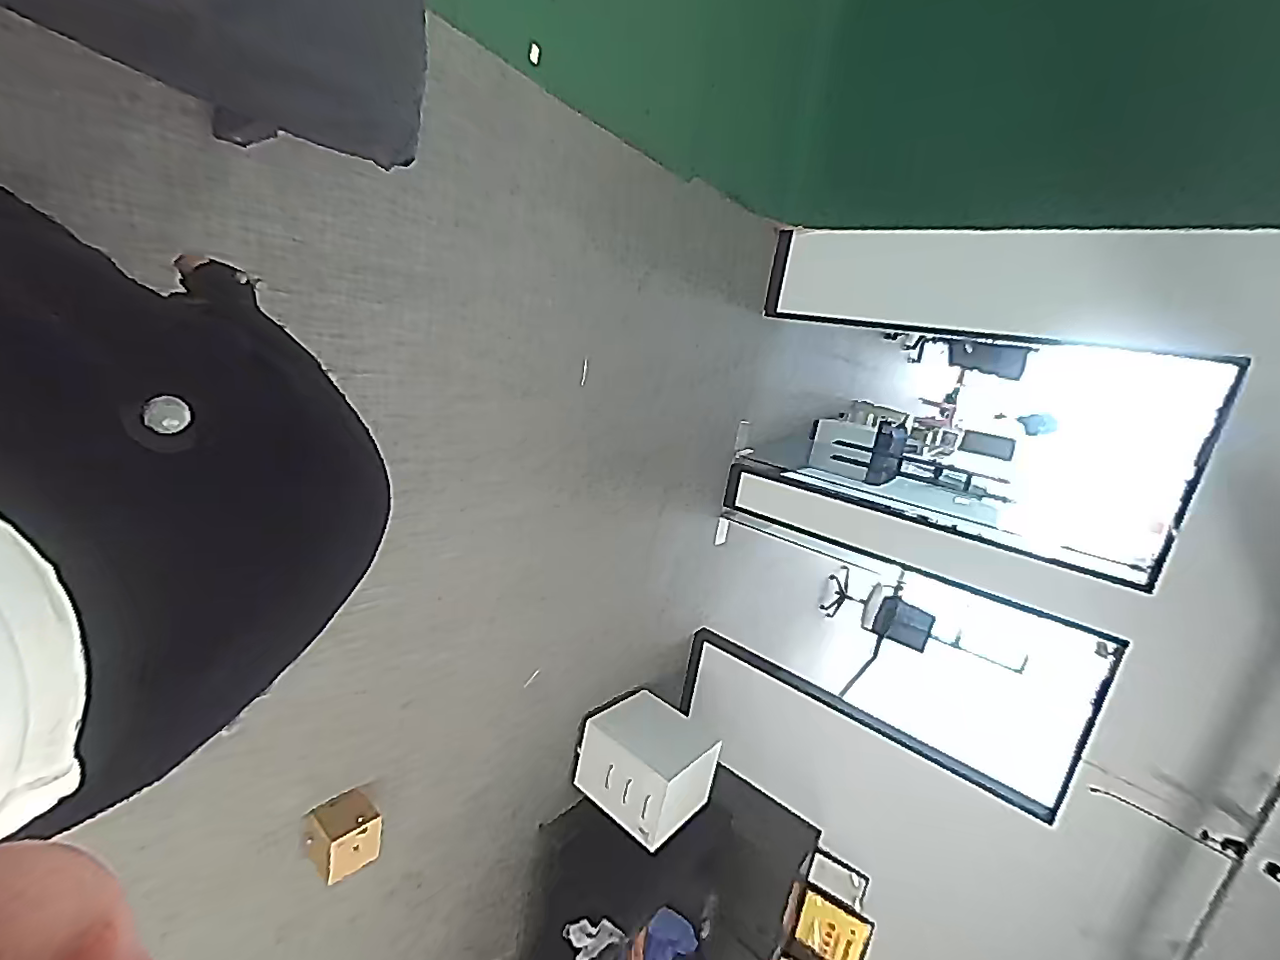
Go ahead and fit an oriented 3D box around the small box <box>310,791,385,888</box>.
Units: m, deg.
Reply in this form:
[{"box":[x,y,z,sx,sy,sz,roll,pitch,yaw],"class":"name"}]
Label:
[{"box":[-0.990,1.204,1.823,0.168,0.176,0.179,-5,109,-53],"class":"small box"}]
